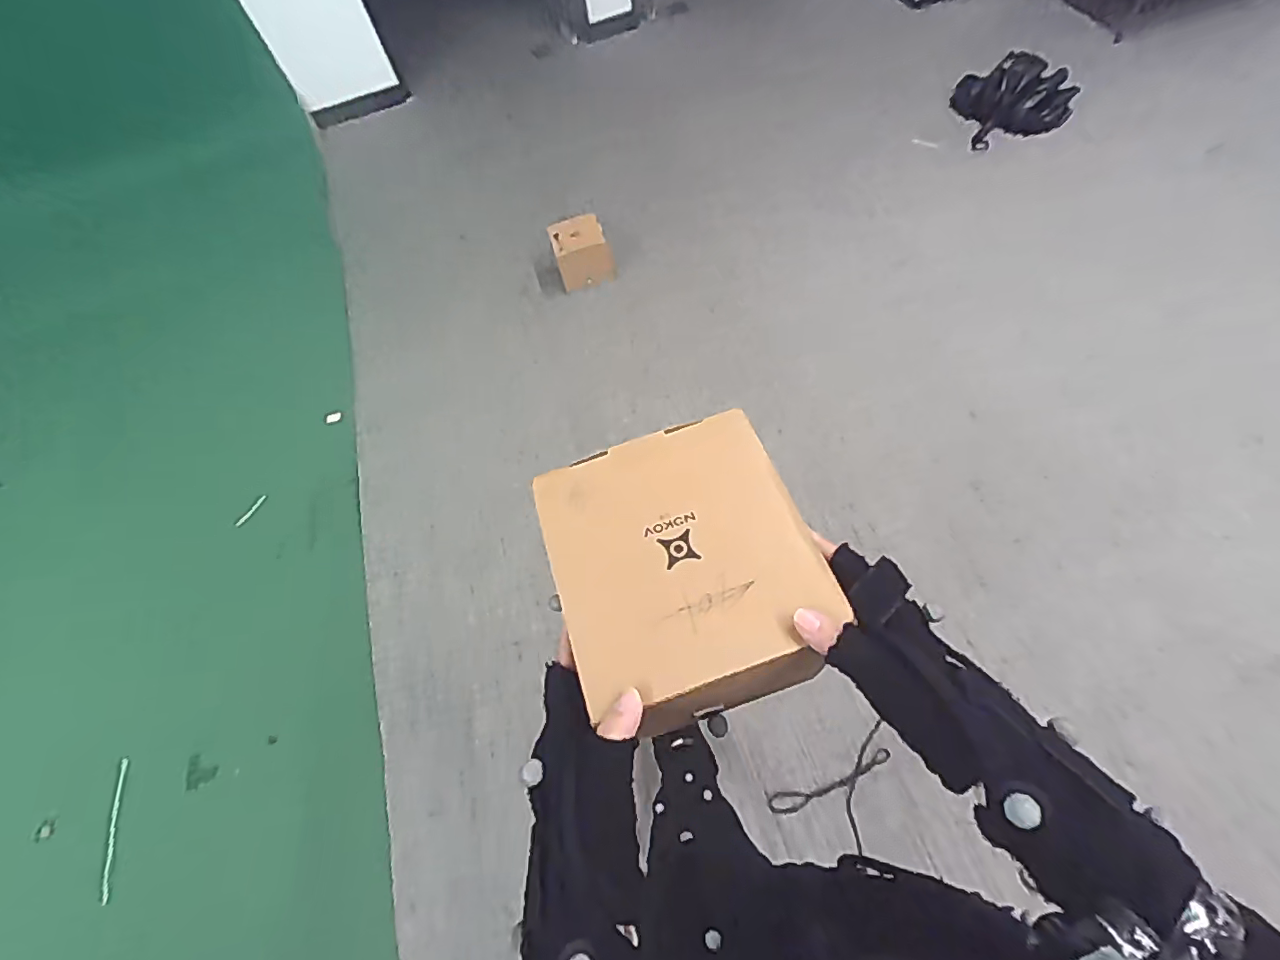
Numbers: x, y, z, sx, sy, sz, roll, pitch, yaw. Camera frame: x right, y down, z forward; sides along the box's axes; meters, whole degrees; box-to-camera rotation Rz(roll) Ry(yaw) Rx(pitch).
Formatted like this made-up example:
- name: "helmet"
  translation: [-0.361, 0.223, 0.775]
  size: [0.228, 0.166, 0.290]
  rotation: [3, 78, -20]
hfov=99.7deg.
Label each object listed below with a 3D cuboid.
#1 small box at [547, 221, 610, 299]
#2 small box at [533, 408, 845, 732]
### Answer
- name: "small box"
  translation: [-0.211, -0.774, 1.913]
  size: [0.179, 0.176, 0.168]
  rotation: [-17, 61, -2]
- name: "small box"
  translation: [0.030, 0.079, 0.428]
  size: [0.168, 0.176, 0.179]
  rotation: [-19, 60, -3]
